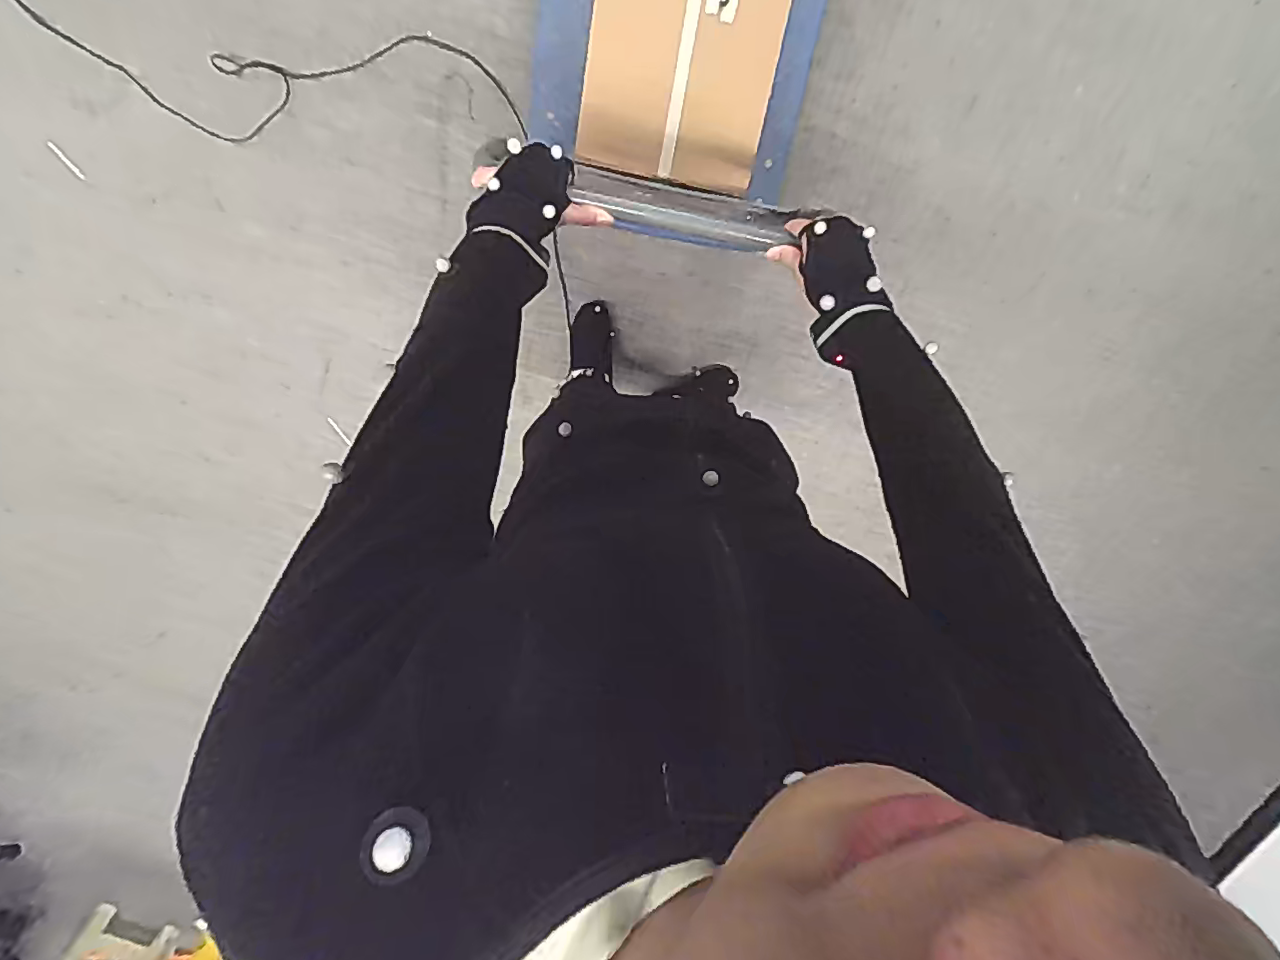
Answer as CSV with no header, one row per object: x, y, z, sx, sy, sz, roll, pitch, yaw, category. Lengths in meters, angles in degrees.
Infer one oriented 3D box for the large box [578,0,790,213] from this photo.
0.072,-0.763,1.025,0.320,0.320,0.408,9,111,-5,large box
